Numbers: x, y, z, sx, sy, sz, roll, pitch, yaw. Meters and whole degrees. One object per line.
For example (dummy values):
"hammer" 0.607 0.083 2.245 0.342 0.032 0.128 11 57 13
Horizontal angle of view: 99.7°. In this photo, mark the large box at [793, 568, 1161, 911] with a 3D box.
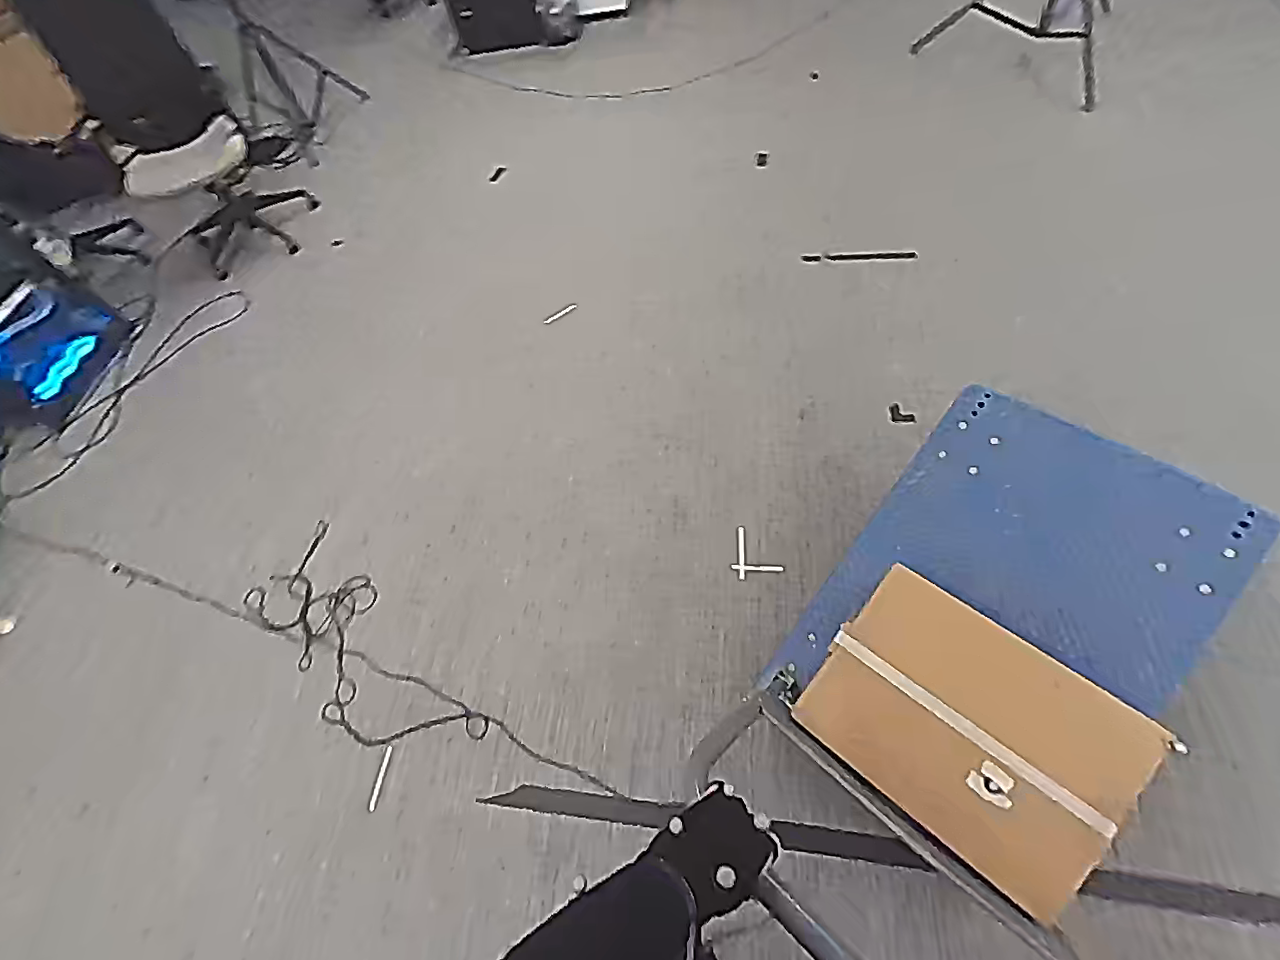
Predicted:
"large box" 0.533 0.408 0.958 0.408 0.320 0.320 35 89 25
